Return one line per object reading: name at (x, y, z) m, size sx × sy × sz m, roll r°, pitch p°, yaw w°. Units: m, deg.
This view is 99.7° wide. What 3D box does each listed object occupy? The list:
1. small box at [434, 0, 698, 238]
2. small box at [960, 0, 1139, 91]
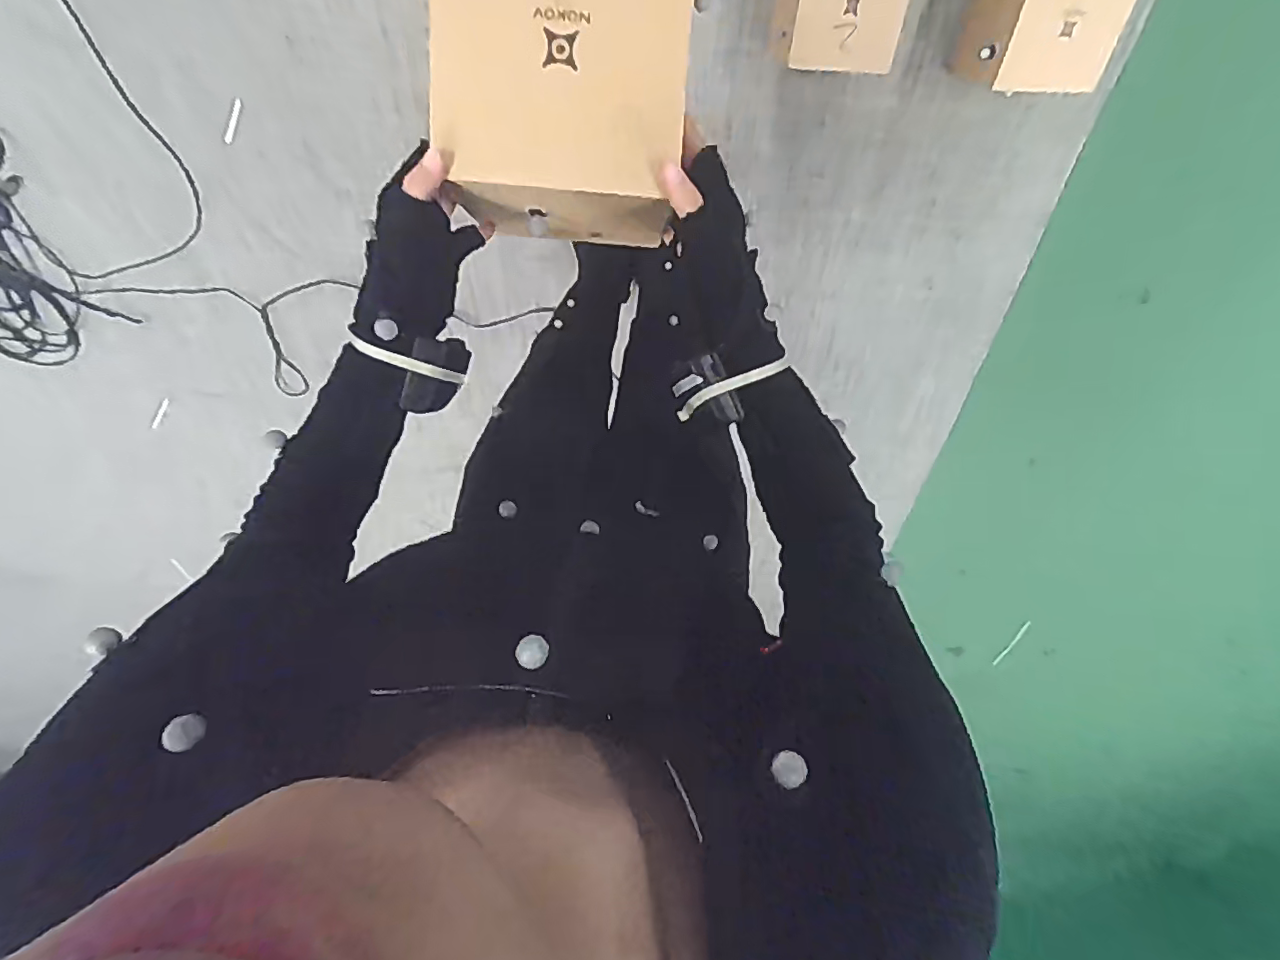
small box at (-0.049, -0.298, 0.417) m, size 0.168 × 0.176 × 0.179 m, roll 3°, pitch 102°, yaw -4°
small box at (0.649, -0.744, 0.864) m, size 0.168 × 0.176 × 0.179 m, roll 1°, pitch 132°, yaw -1°
